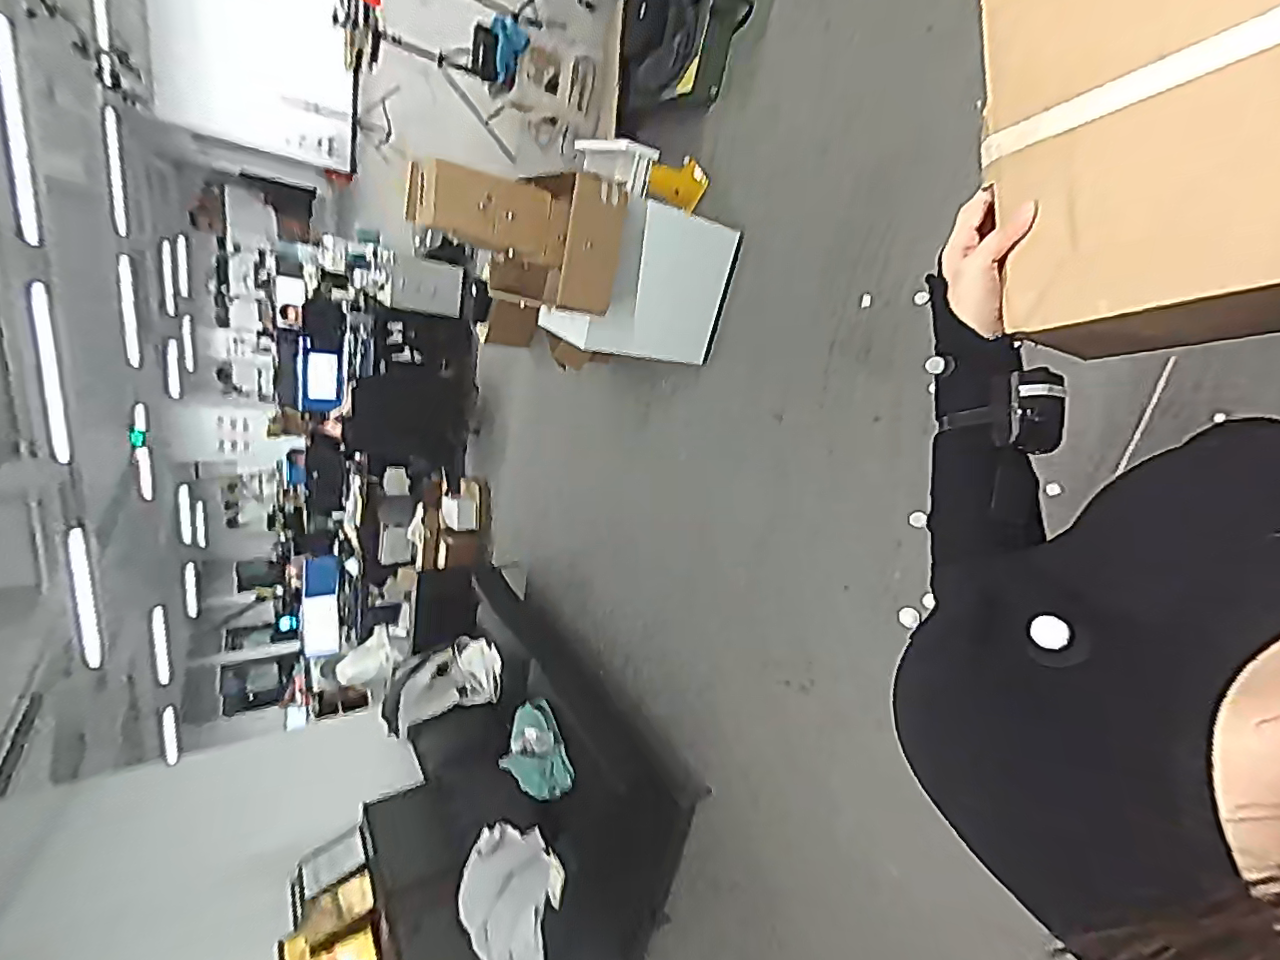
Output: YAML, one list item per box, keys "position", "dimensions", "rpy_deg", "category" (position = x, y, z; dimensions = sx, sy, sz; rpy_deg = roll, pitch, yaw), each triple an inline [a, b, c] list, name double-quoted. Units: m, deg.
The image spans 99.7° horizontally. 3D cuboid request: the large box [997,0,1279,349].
- position: [0.545, -0.304, 0.401]
  dimensions: [0.408, 0.320, 0.320]
  rpy_deg: [-3, 93, 47]
  category: "large box"
